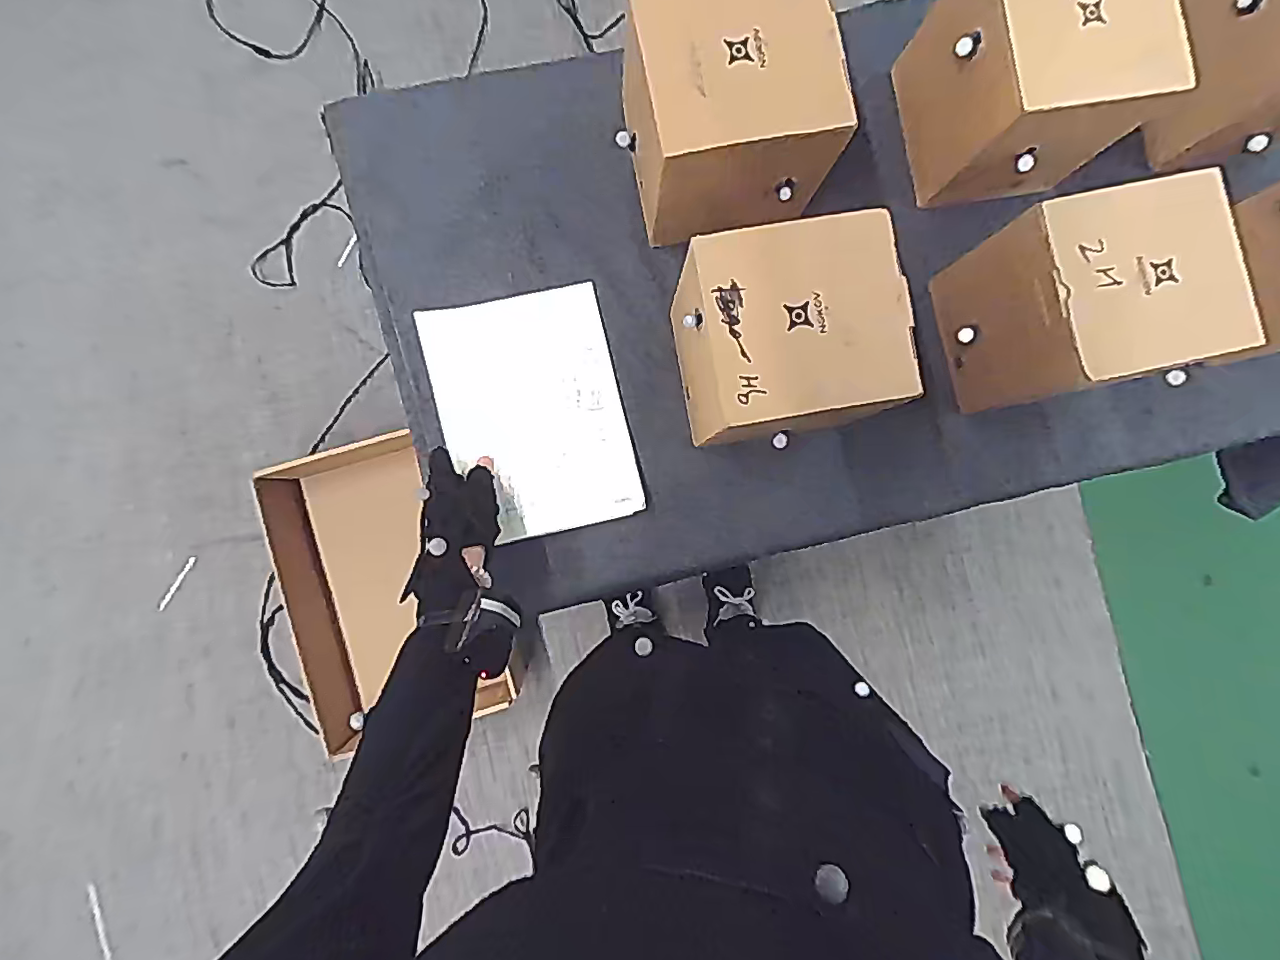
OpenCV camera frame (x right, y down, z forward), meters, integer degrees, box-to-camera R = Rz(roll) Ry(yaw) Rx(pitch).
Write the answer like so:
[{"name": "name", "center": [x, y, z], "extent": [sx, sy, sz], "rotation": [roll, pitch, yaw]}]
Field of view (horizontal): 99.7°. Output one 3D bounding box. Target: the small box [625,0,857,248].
[{"name": "small box", "center": [0.086, -0.361, 0.547], "extent": [0.179, 0.176, 0.168], "rotation": [-11, 87, -4]}]

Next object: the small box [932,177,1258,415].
[{"name": "small box", "center": [0.443, -0.172, 0.556], "extent": [0.179, 0.176, 0.168], "rotation": [-12, 87, -3]}]

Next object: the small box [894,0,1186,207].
[{"name": "small box", "center": [0.397, -0.412, 0.569], "extent": [0.168, 0.176, 0.179], "rotation": [-10, 87, -3]}]

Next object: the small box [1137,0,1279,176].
[{"name": "small box", "center": [0.681, -0.468, 0.582], "extent": [0.168, 0.176, 0.179], "rotation": [-10, 88, -3]}]
